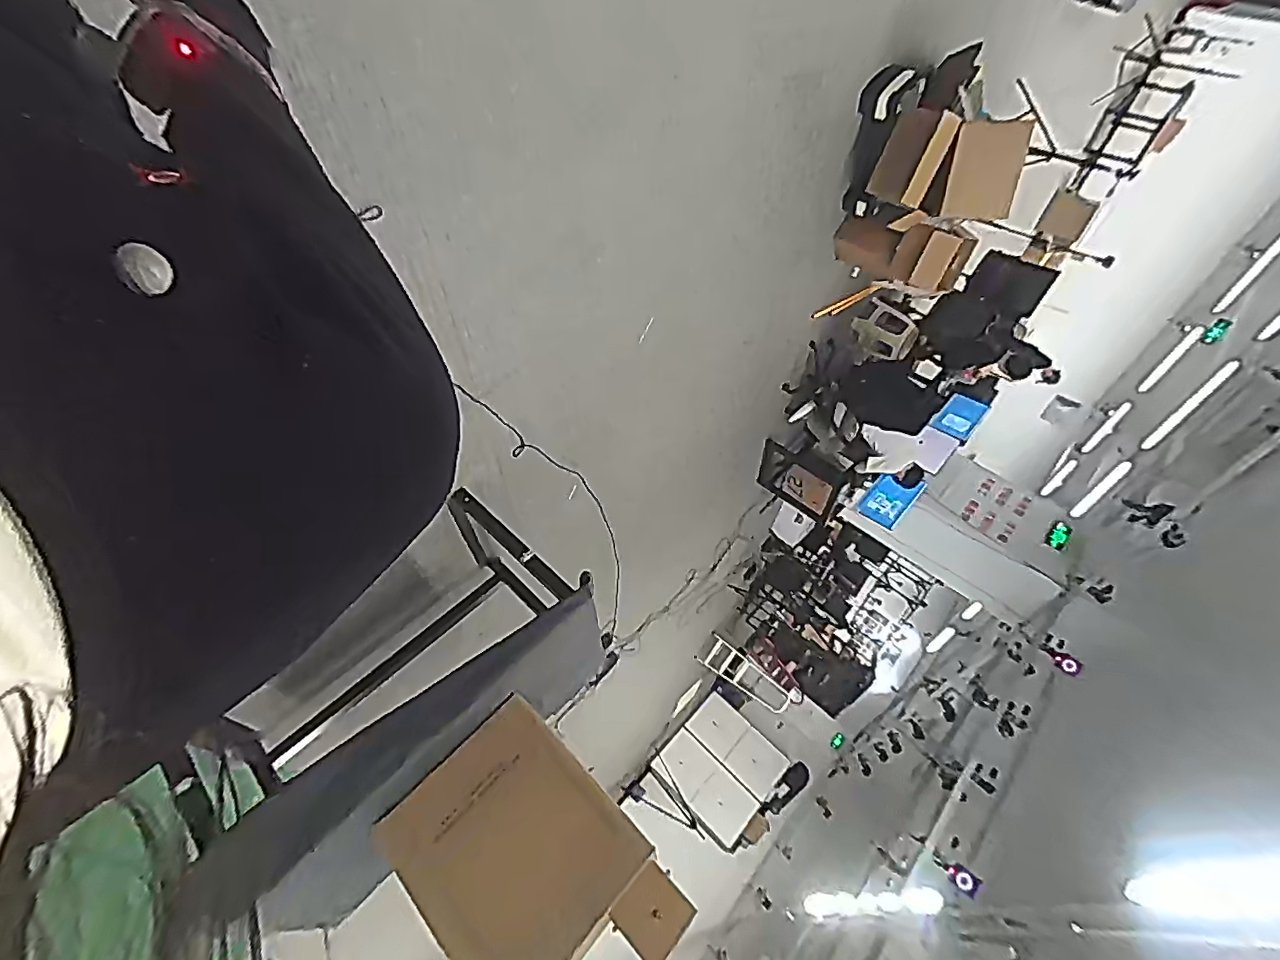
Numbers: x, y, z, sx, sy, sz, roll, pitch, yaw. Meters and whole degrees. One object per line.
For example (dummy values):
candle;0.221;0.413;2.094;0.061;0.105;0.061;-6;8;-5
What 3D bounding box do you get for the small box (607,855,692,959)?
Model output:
small box;0.025;1.180;1.486;0.179;0.176;0.168;-41;149;-22
